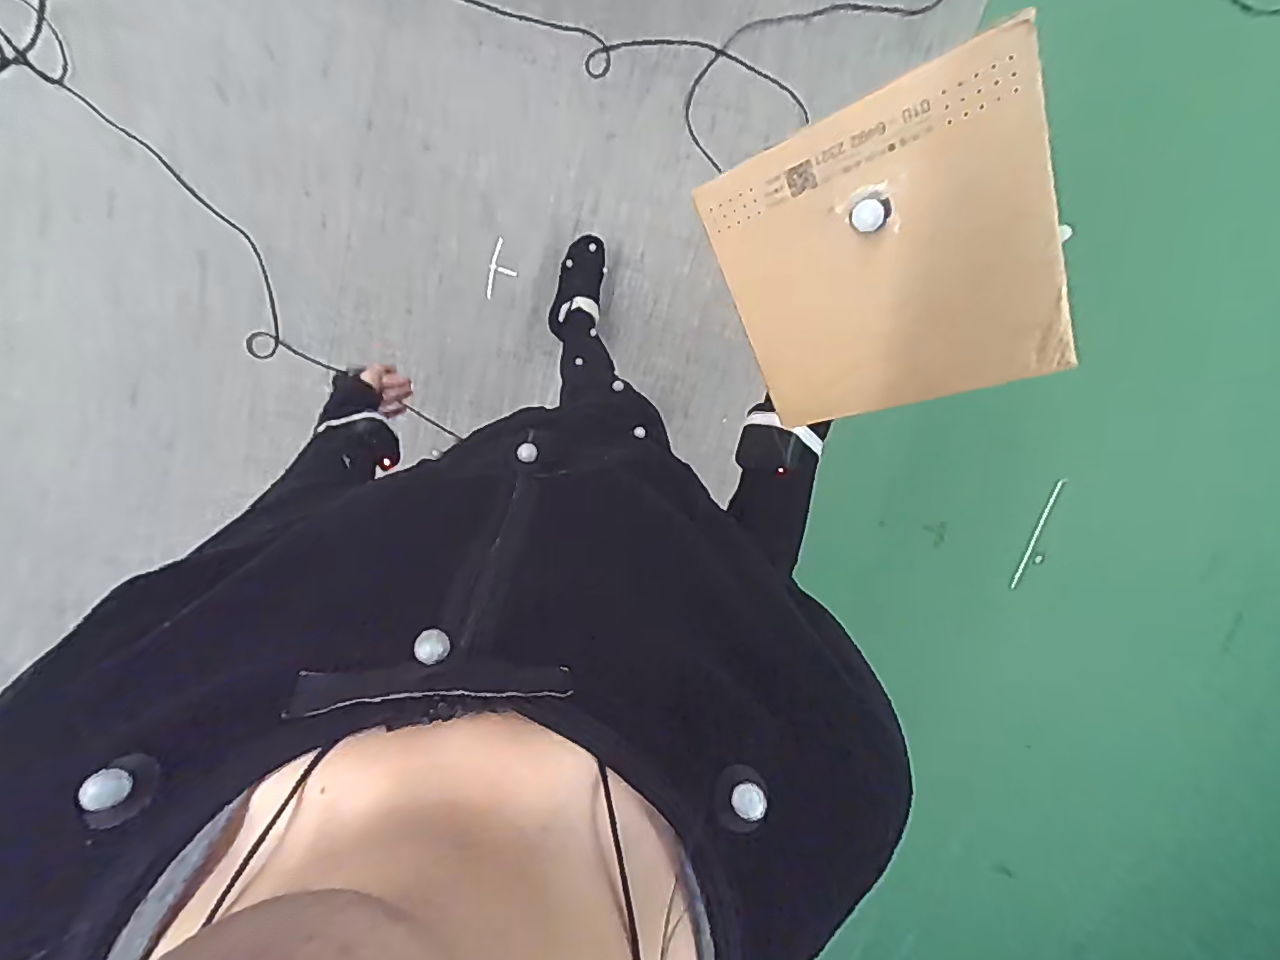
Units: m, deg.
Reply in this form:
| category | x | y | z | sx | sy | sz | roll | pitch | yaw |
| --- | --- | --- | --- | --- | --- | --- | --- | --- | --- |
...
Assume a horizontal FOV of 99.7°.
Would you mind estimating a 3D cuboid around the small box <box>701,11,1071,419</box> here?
| category | x | y | z | sx | sy | sz | roll | pitch | yaw |
| --- | --- | --- | --- | --- | --- | --- | --- | --- | --- |
| small box | 0.165 | -0.169 | 0.363 | 0.168 | 0.179 | 0.176 | -11 | 118 | 35 |
